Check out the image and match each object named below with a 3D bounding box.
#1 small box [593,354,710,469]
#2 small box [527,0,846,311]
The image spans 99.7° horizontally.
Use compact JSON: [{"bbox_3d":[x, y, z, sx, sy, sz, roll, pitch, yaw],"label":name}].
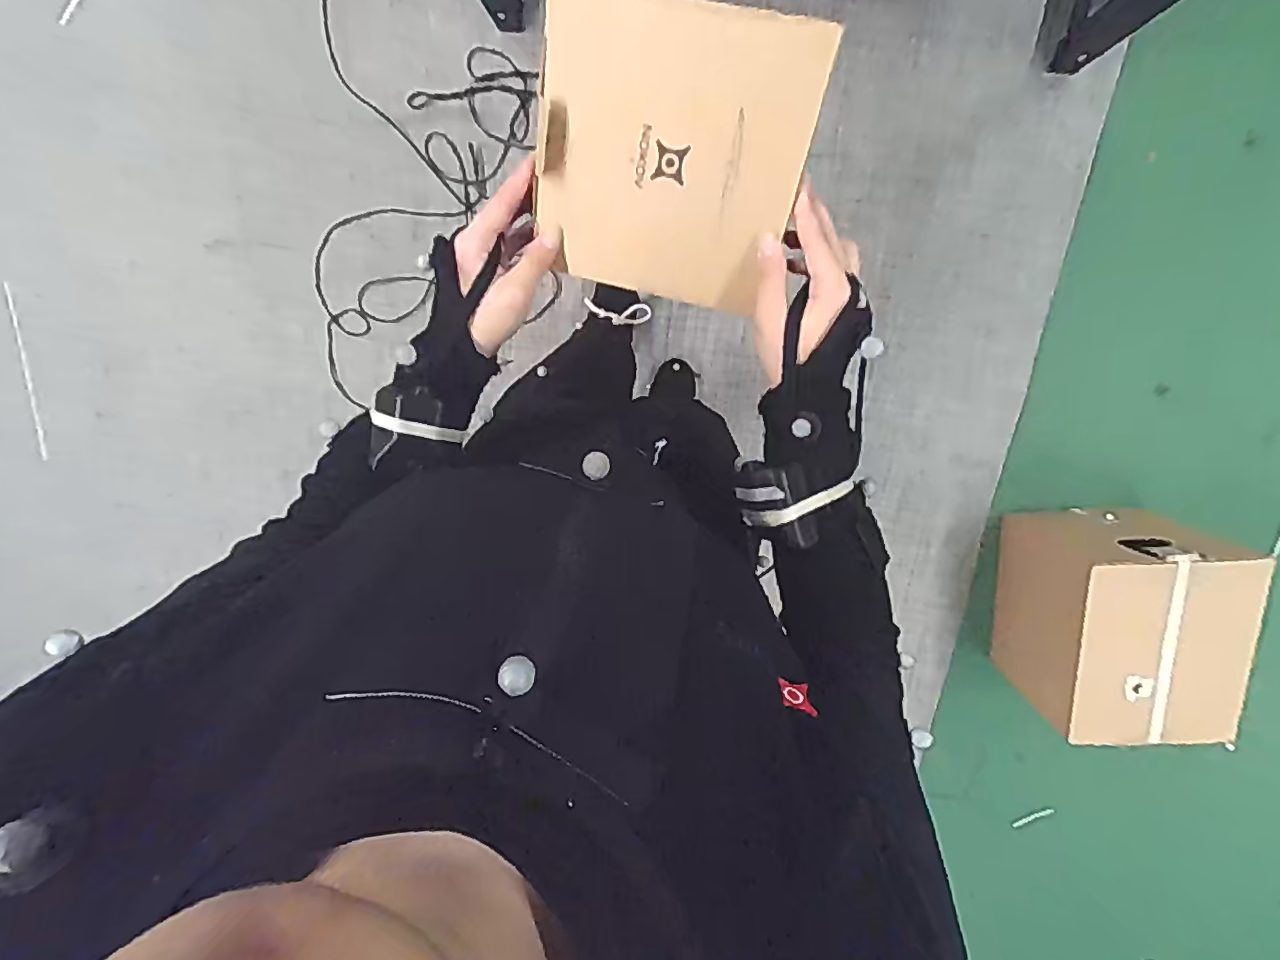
[{"bbox_3d":[0.028,-0.143,1.204,0.176,0.168,0.179,-23,117,33],"label":"small box"},{"bbox_3d":[0.031,-0.244,0.411,0.179,0.176,0.168,14,121,4],"label":"small box"}]
